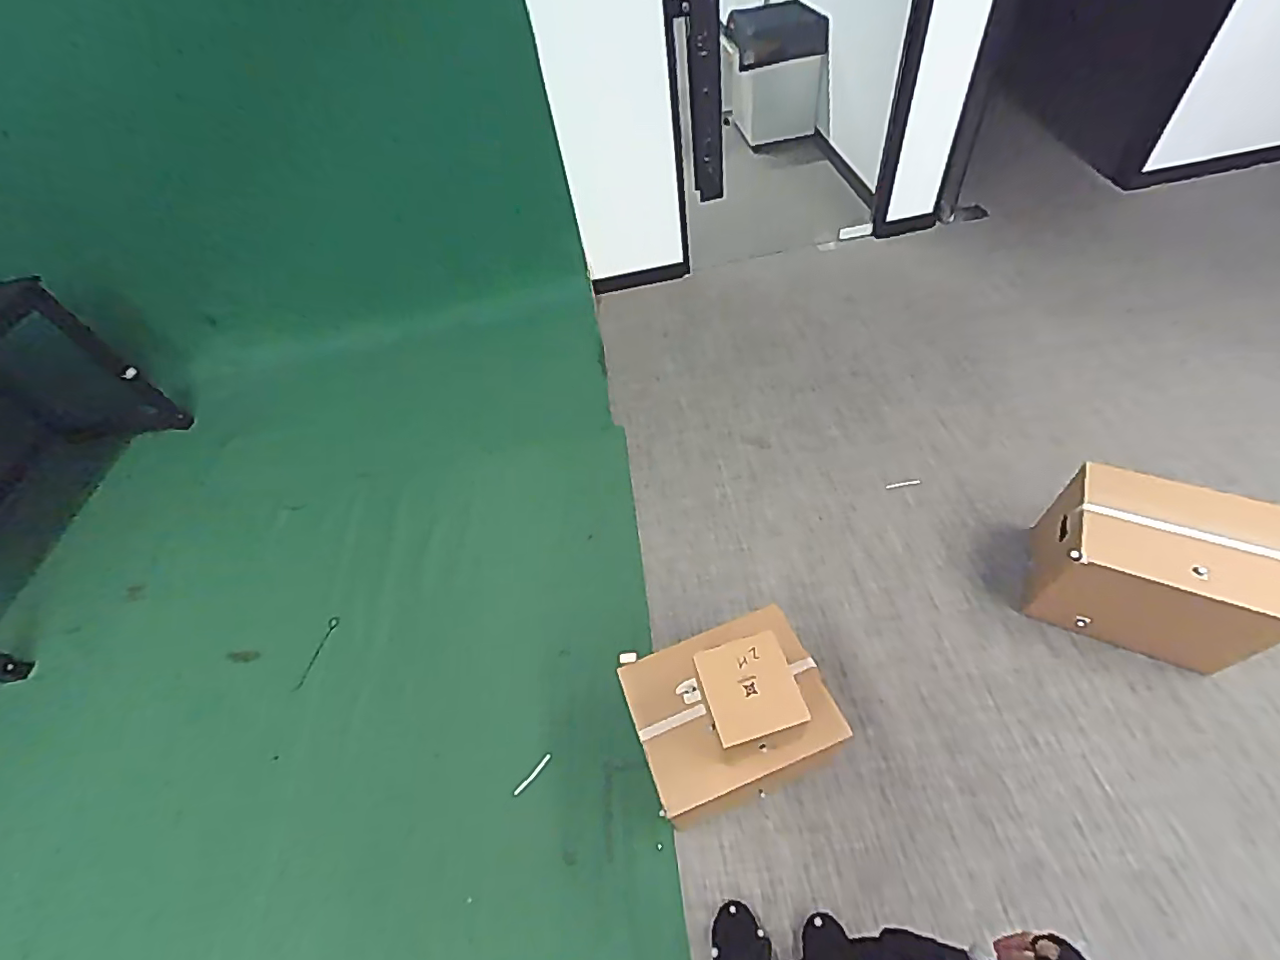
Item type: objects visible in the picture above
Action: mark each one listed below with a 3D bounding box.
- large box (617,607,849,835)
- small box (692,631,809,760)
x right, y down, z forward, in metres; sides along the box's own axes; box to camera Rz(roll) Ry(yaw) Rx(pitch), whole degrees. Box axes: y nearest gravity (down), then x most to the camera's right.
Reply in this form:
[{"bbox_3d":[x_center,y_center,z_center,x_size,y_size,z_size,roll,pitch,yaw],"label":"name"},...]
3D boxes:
[{"bbox_3d":[0.204,0.560,1.252,0.408,0.320,0.320,-21,51,-6],"label":"large box"},{"bbox_3d":[0.206,0.422,1.042,0.168,0.176,0.179,-15,52,-4],"label":"small box"}]
